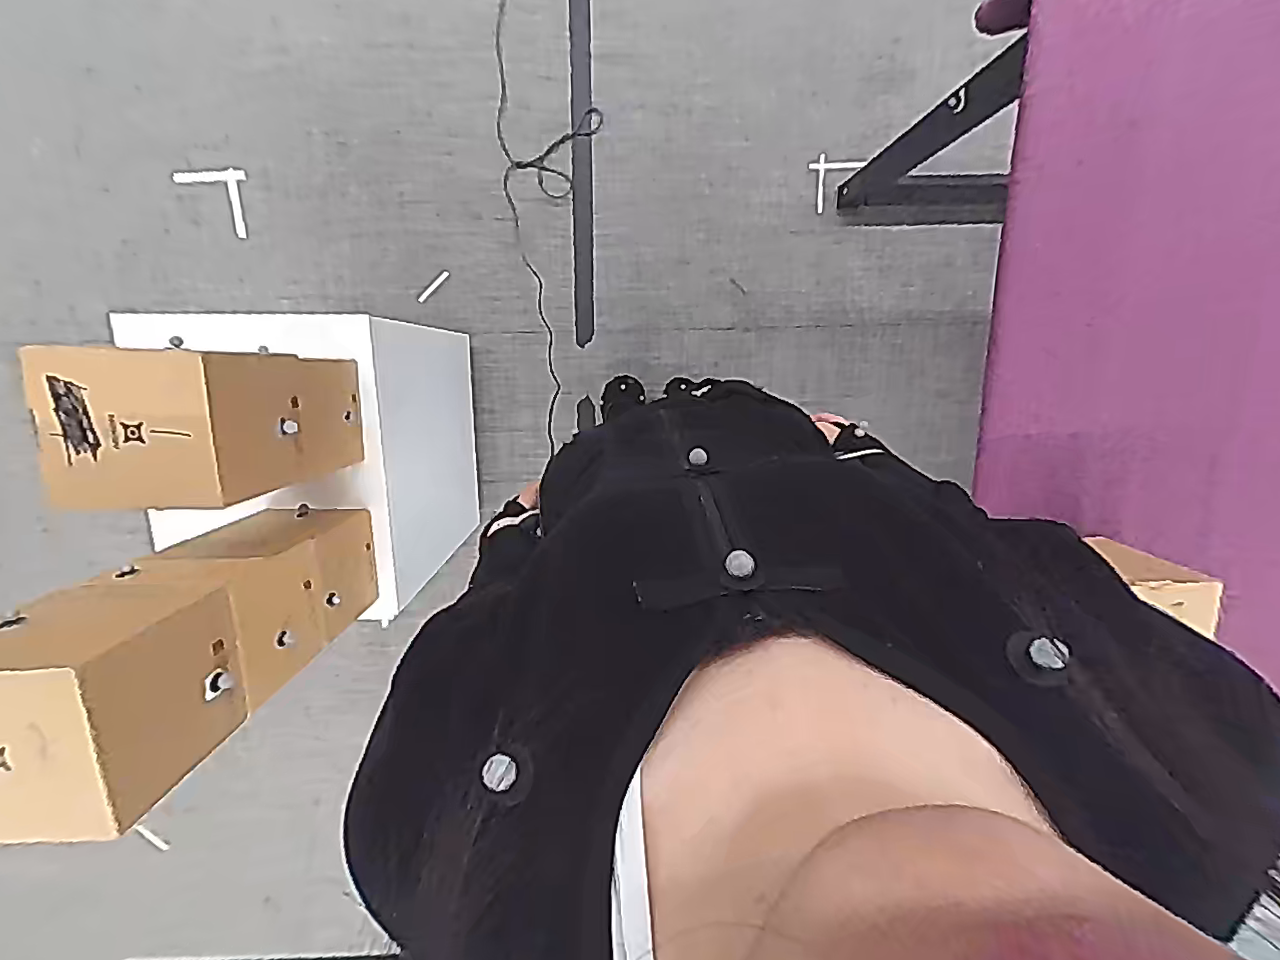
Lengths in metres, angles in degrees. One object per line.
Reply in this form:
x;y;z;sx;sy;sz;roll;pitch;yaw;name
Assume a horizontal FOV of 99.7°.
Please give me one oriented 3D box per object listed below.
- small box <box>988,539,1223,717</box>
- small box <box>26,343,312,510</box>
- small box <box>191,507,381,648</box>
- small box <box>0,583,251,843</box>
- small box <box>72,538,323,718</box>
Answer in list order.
0.607;0.191;0.732;0.168;0.176;0.179;-2;102;-2;small box
-0.518;-0.067;0.623;0.179;0.176;0.168;1;103;-3;small box
-0.531;0.143;0.835;0.179;0.176;0.168;0;103;0;small box
-0.525;0.207;0.517;0.179;0.176;0.168;-2;103;-1;small box
-0.527;0.175;0.677;0.179;0.176;0.168;-1;102;-1;small box
